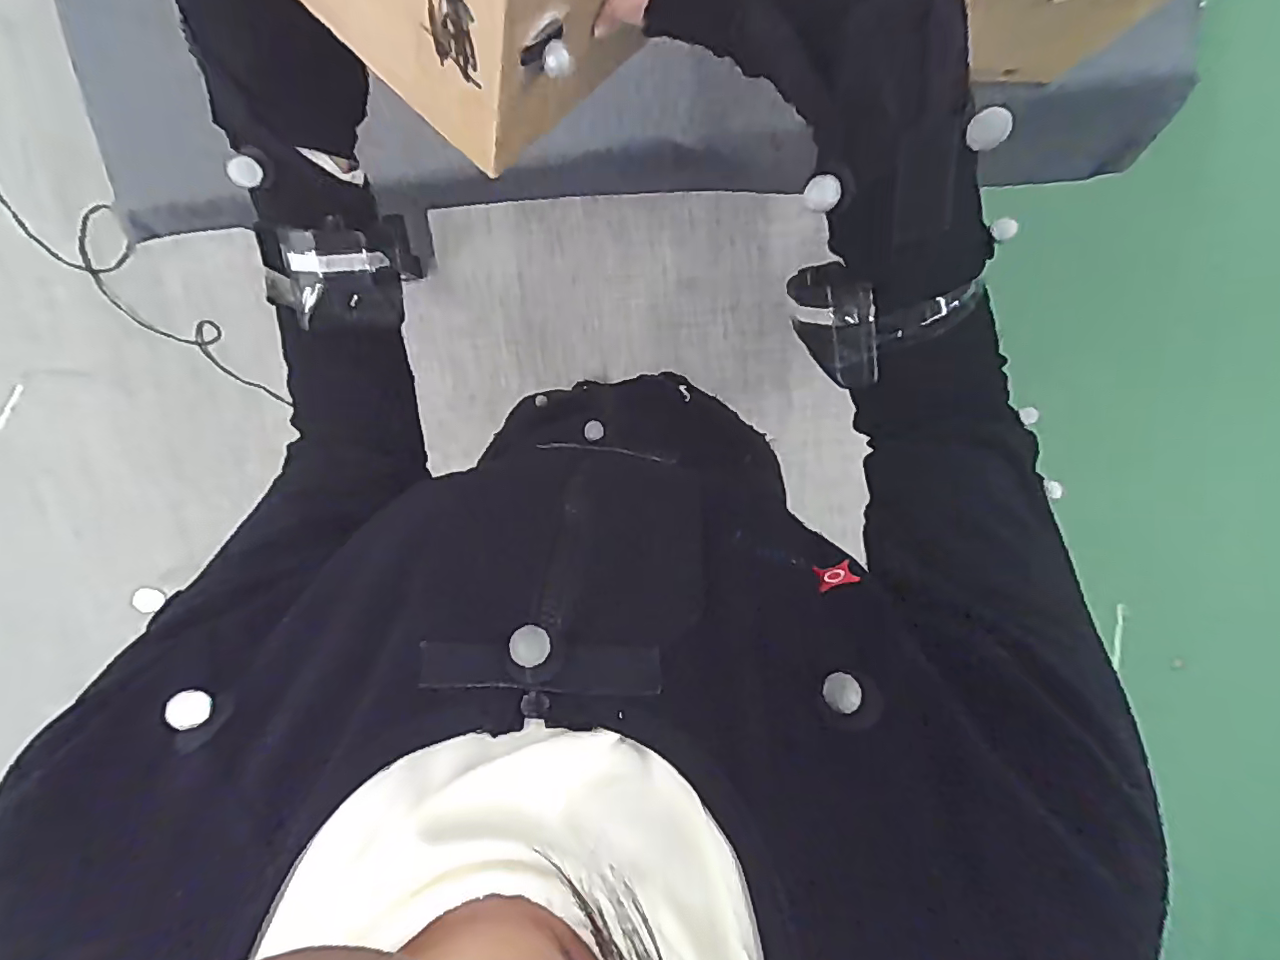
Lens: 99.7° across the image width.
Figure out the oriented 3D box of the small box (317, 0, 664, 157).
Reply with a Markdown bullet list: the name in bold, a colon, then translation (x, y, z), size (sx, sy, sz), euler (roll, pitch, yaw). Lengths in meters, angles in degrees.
- **small box**: translation (-0.057, -0.275, 0.190), size (0.179, 0.168, 0.176), euler (43, 73, -11)
